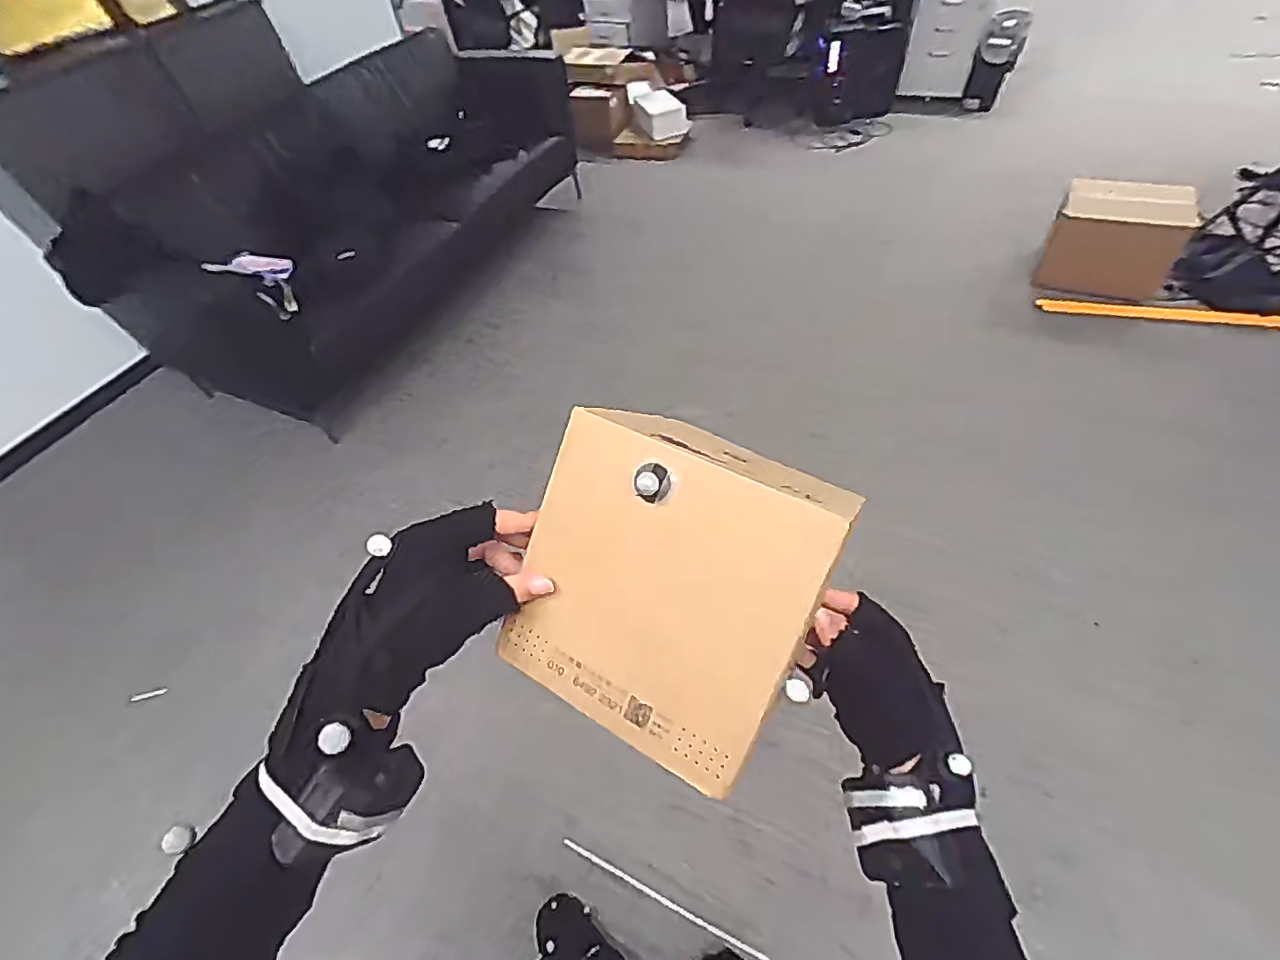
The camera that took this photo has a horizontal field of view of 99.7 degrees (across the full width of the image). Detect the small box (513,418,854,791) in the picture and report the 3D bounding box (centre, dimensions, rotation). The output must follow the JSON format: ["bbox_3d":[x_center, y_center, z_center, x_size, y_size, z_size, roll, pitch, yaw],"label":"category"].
[{"bbox_3d":[0.037,0.070,0.387,0.168,0.179,0.176,23,100,22],"label":"small box"}]
